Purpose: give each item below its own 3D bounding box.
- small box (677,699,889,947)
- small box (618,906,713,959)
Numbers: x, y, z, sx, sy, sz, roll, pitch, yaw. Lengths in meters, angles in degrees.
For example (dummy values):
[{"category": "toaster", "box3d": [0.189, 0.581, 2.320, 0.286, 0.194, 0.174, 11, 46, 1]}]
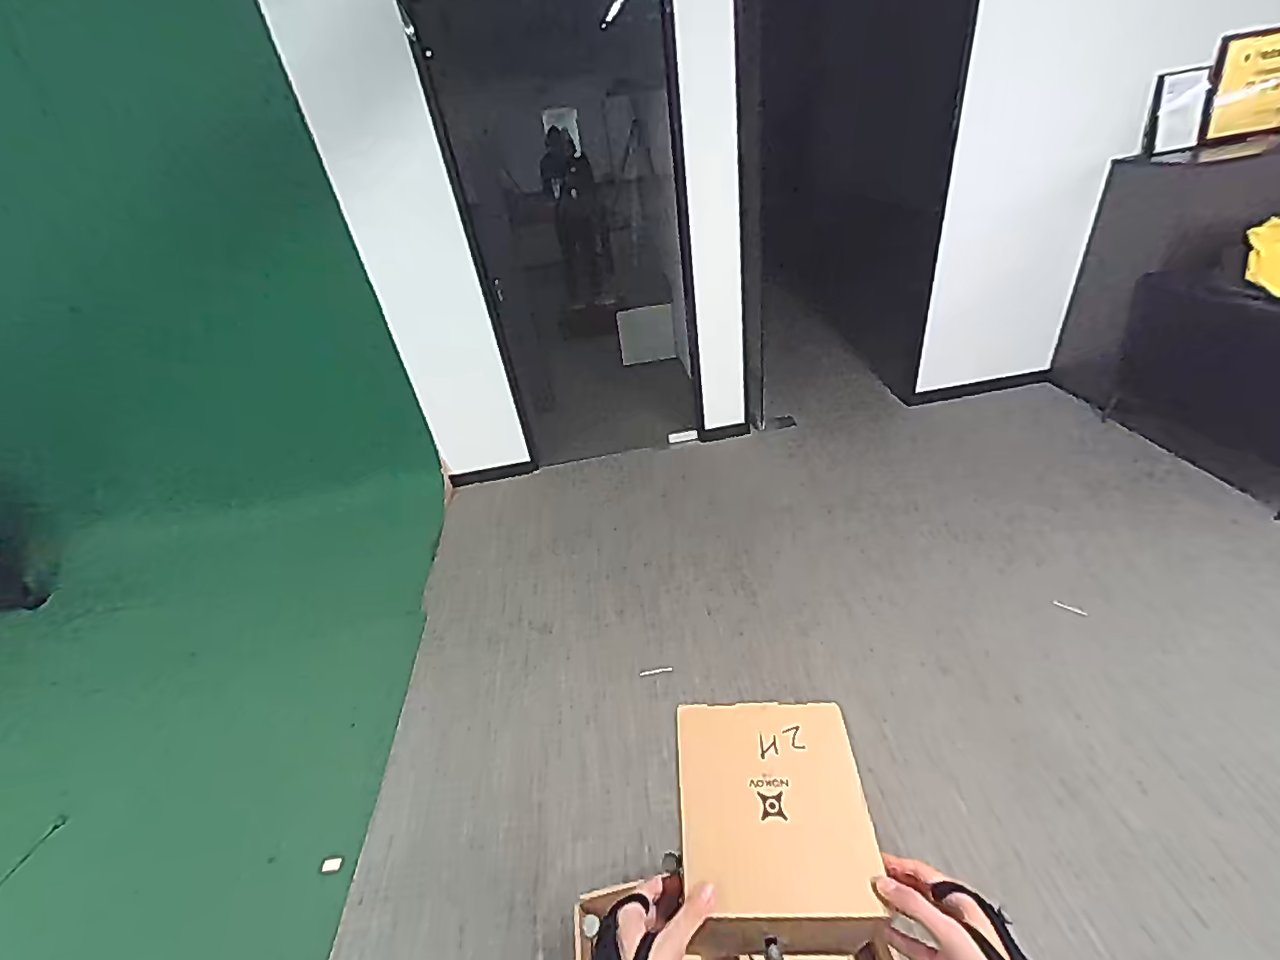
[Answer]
[{"category": "small box", "box3d": [0.122, 0.341, 0.540, 0.168, 0.176, 0.179, -1, 41, 2]}, {"category": "small box", "box3d": [0.063, 0.997, 1.089, 0.179, 0.176, 0.168, -12, 36, -5]}]
